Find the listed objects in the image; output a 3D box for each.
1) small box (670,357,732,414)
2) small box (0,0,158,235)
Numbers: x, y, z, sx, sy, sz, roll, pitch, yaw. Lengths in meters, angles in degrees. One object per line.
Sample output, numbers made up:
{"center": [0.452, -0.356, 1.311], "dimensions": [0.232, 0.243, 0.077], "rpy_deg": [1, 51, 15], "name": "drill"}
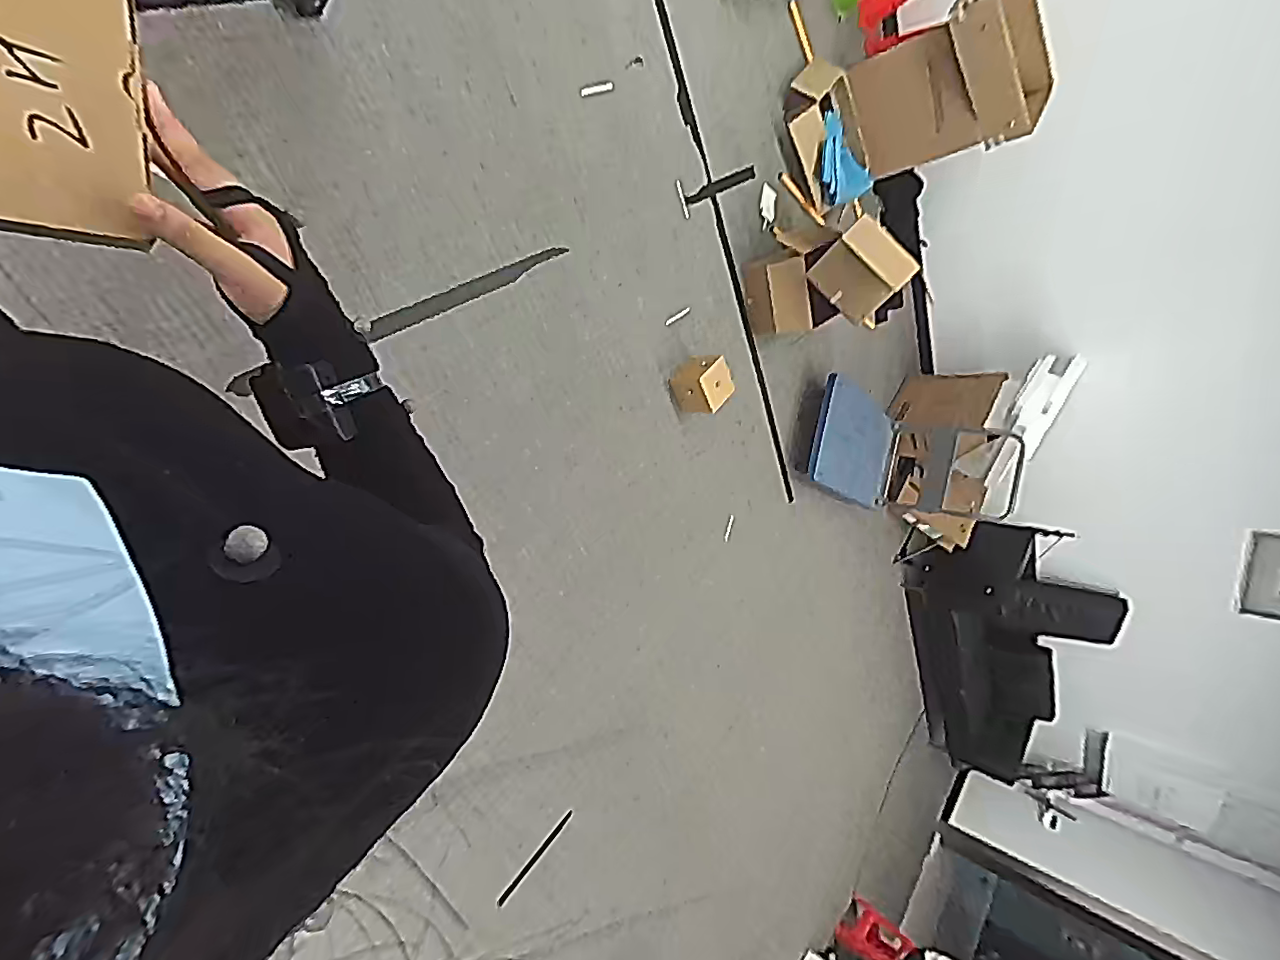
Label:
{"center": [0.241, -0.383, 2.204], "dimensions": [0.179, 0.176, 0.168], "rpy_deg": [-47, 126, -29], "name": "small box"}
{"center": [-0.393, -0.242, 0.302], "dimensions": [0.179, 0.176, 0.168], "rpy_deg": [-6, 110, -43], "name": "small box"}
